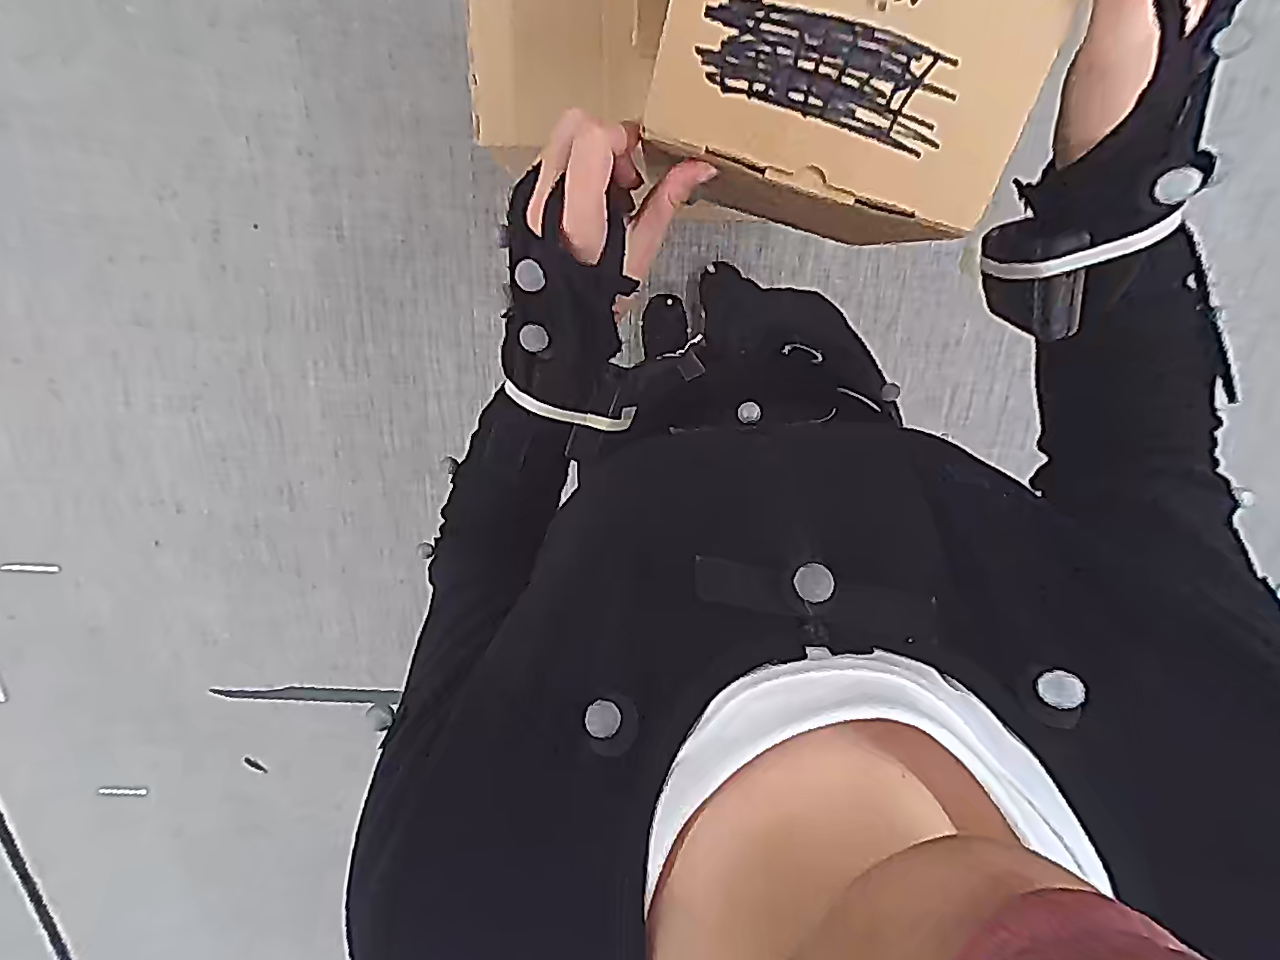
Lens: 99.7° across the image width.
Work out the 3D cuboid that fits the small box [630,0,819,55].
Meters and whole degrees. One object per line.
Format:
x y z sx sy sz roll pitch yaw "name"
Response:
0.080 -0.519 0.492 0.179 0.176 0.168 1 109 0 "small box"
